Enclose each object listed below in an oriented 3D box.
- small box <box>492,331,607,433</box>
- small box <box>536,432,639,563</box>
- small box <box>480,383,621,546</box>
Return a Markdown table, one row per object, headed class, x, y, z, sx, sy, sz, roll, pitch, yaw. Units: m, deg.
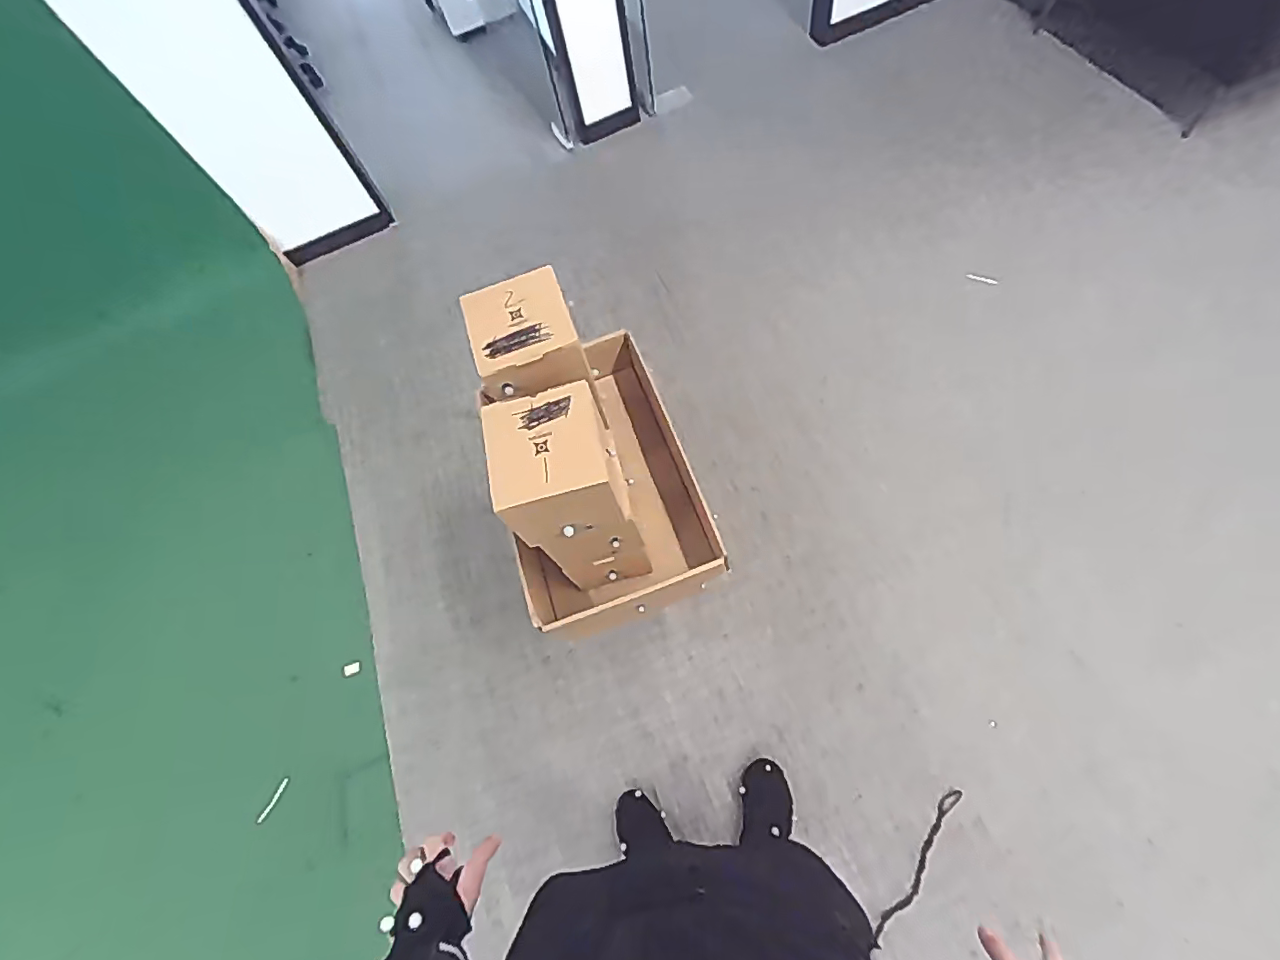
| class | x | y | z | sx | sy | sz | roll | pitch | yaw |
| --- | --- | --- | --- | --- | --- | --- | --- | --- | --- |
| small box | -0.179 | -0.164 | 1.100 | 0.168 | 0.176 | 0.179 | -21 | 67 | -2 |
| small box | -0.104 | 0.043 | 0.993 | 0.168 | 0.176 | 0.179 | -15 | 64 | 1 |
| small box | -0.134 | -0.018 | 0.843 | 0.168 | 0.176 | 0.179 | -15 | 65 | 1 |
